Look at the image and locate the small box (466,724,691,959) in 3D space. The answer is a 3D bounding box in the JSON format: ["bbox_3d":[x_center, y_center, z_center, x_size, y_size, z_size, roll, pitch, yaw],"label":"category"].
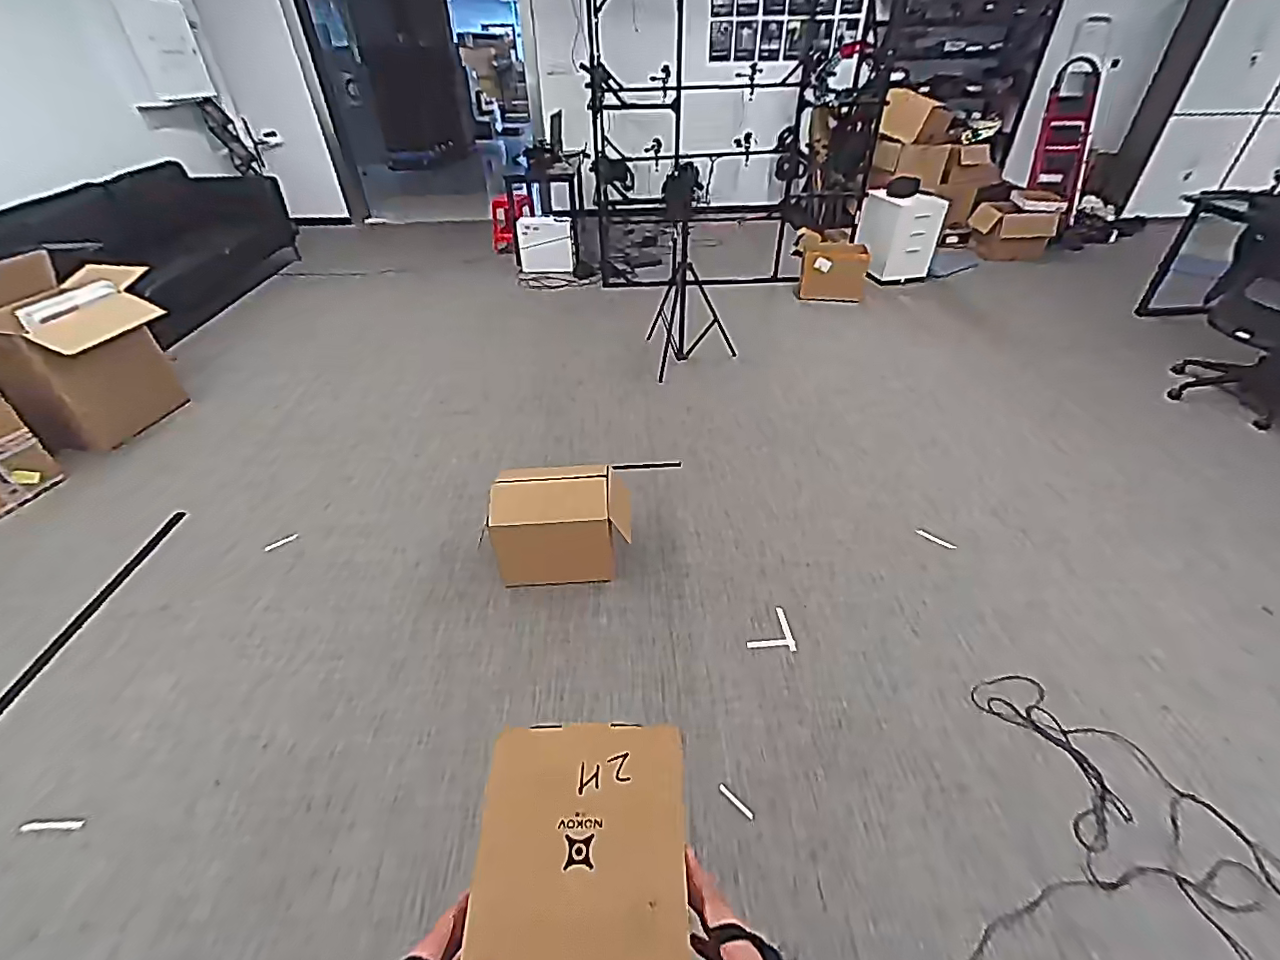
[{"bbox_3d":[-0.042,0.342,0.496,0.168,0.176,0.179,-1,47,0],"label":"small box"}]
